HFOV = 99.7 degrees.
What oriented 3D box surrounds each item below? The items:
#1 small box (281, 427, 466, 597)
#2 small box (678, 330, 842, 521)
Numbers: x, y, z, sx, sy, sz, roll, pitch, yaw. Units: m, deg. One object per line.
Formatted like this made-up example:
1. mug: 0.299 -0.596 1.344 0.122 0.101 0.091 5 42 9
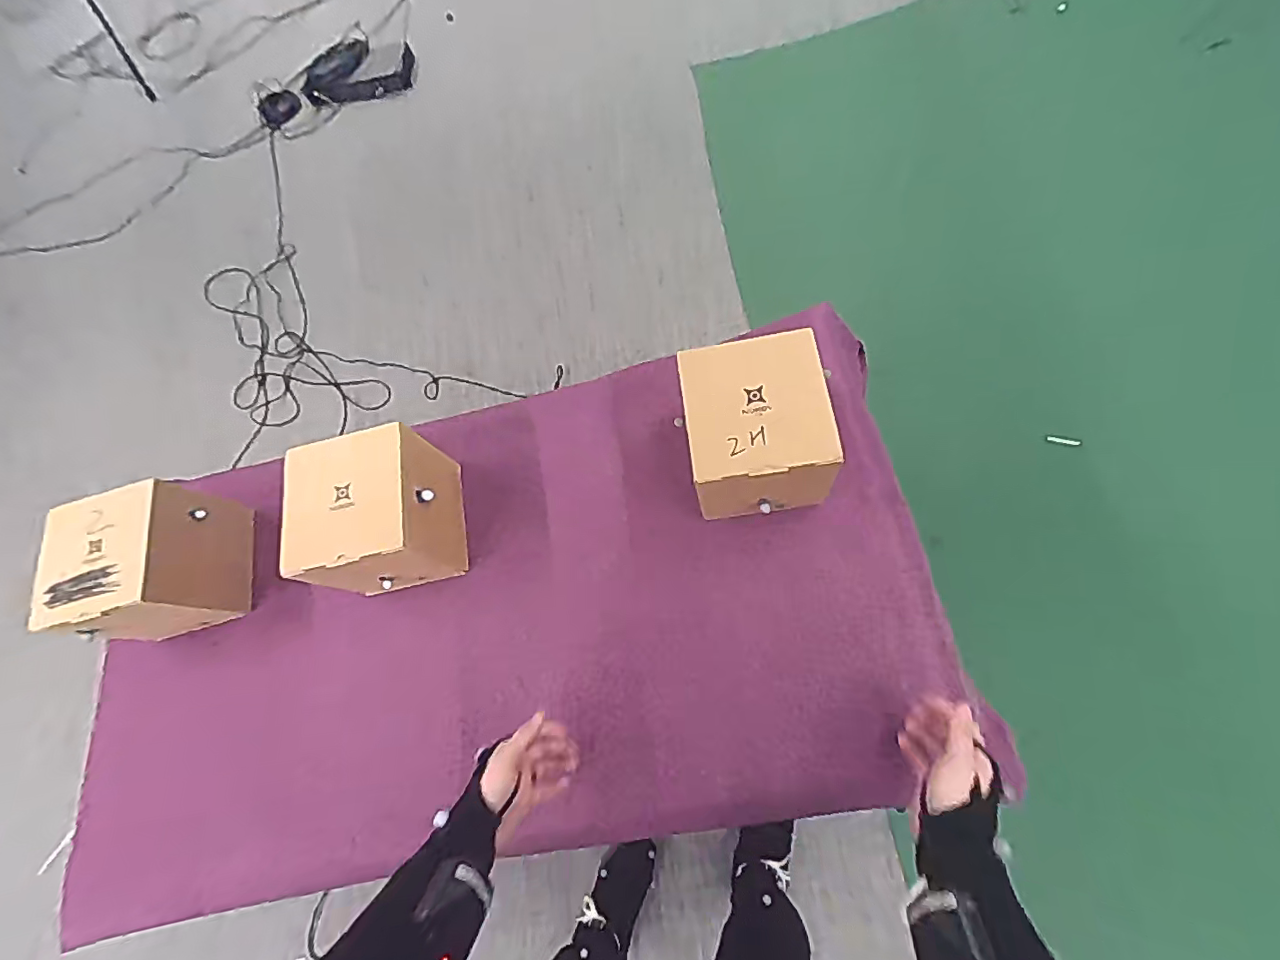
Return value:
1. small box: -0.359 0.053 0.754 0.168 0.176 0.179 -14 70 5
2. small box: 0.146 -0.060 0.695 0.168 0.176 0.179 -9 70 9
